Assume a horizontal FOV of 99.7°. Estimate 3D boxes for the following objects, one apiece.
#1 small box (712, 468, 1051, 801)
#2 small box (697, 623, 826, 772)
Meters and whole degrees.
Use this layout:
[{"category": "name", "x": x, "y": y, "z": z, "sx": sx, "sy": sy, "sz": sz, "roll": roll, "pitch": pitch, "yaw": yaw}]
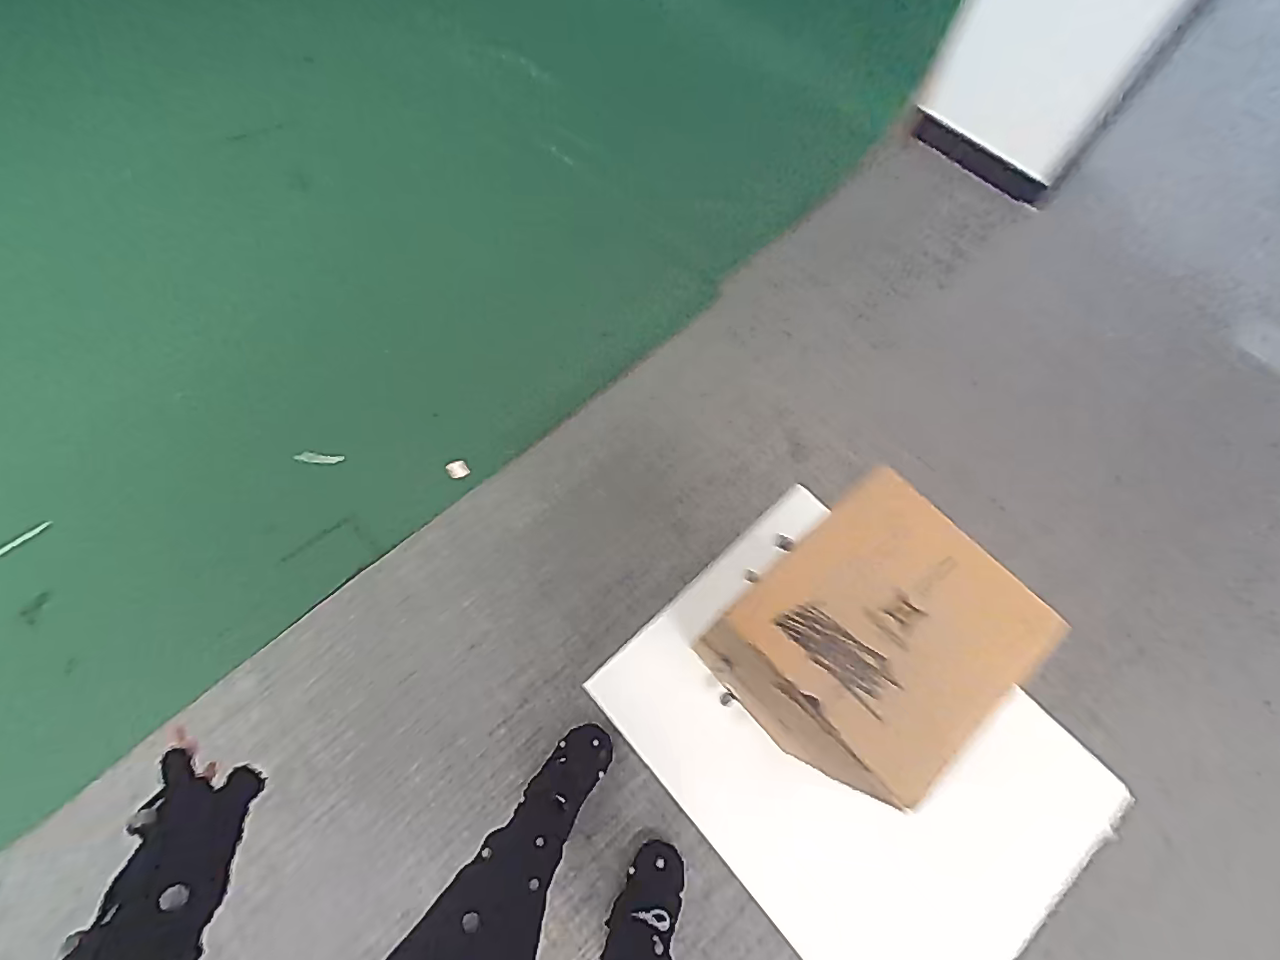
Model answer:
[{"category": "small box", "x": 0.175, "y": 0.127, "z": 0.458, "sx": 0.179, "sy": 0.176, "sz": 0.168, "roll": -39, "pitch": 73, "yaw": -13}, {"category": "small box", "x": 0.178, "y": 0.187, "z": 0.611, "sx": 0.179, "sy": 0.176, "sz": 0.168, "roll": -41, "pitch": 73, "yaw": -12}]
